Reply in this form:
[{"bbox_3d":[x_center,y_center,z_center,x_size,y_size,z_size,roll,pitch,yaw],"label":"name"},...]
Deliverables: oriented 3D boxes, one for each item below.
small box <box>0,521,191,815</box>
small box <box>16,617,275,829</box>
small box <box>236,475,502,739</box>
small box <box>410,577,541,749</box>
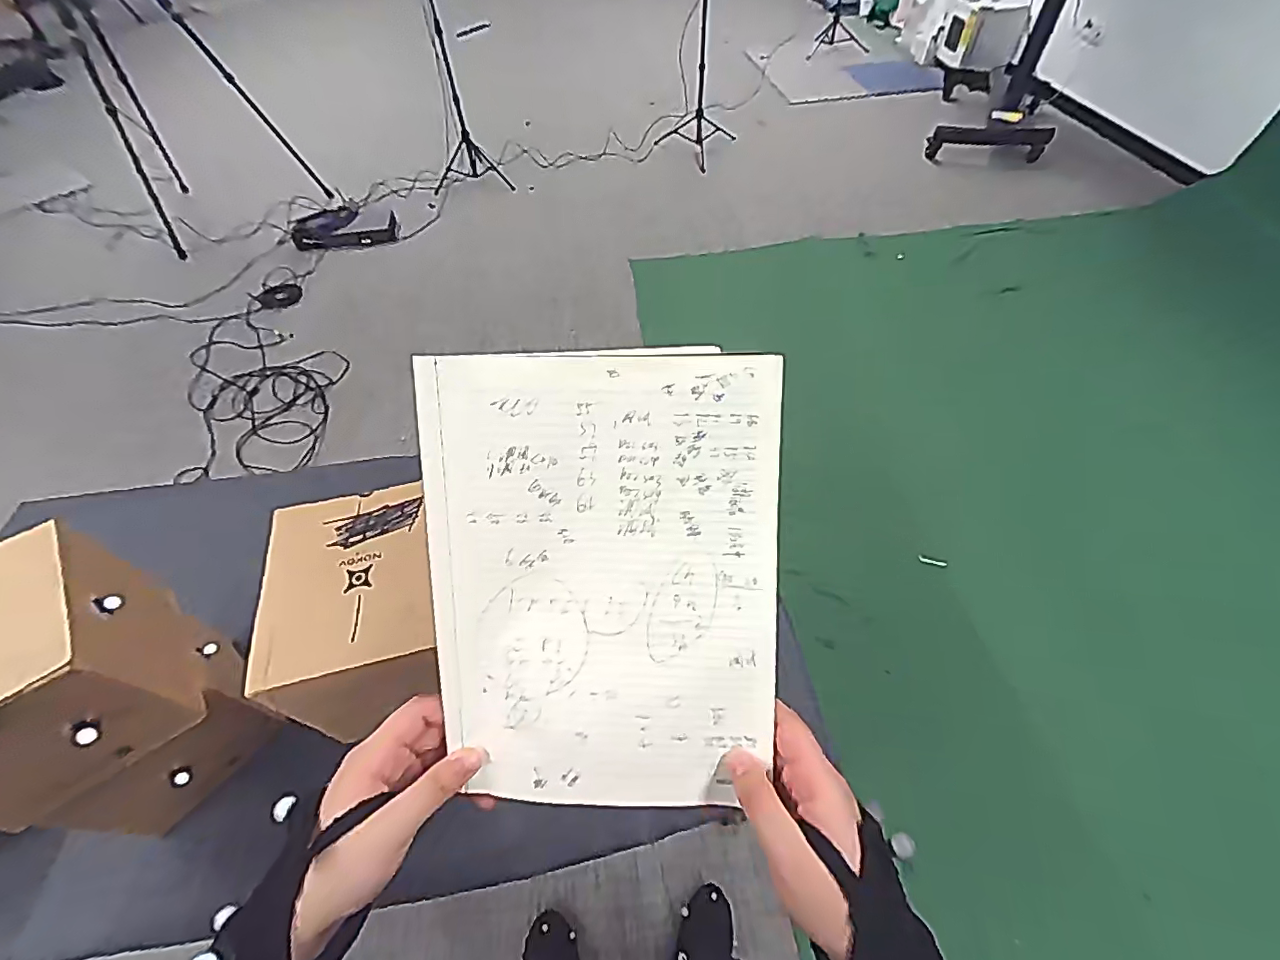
[{"bbox_3d":[-0.562,0.178,0.496,0.168,0.176,0.179,-32,58,-22],"label":"small box"},{"bbox_3d":[-0.577,0.271,0.629,0.179,0.176,0.168,34,60,23],"label":"small box"},{"bbox_3d":[-0.240,0.126,0.526,0.168,0.176,0.179,-13,54,-7],"label":"small box"},{"bbox_3d":[-0.241,0.212,0.666,0.179,0.176,0.168,15,55,13],"label":"small box"}]
